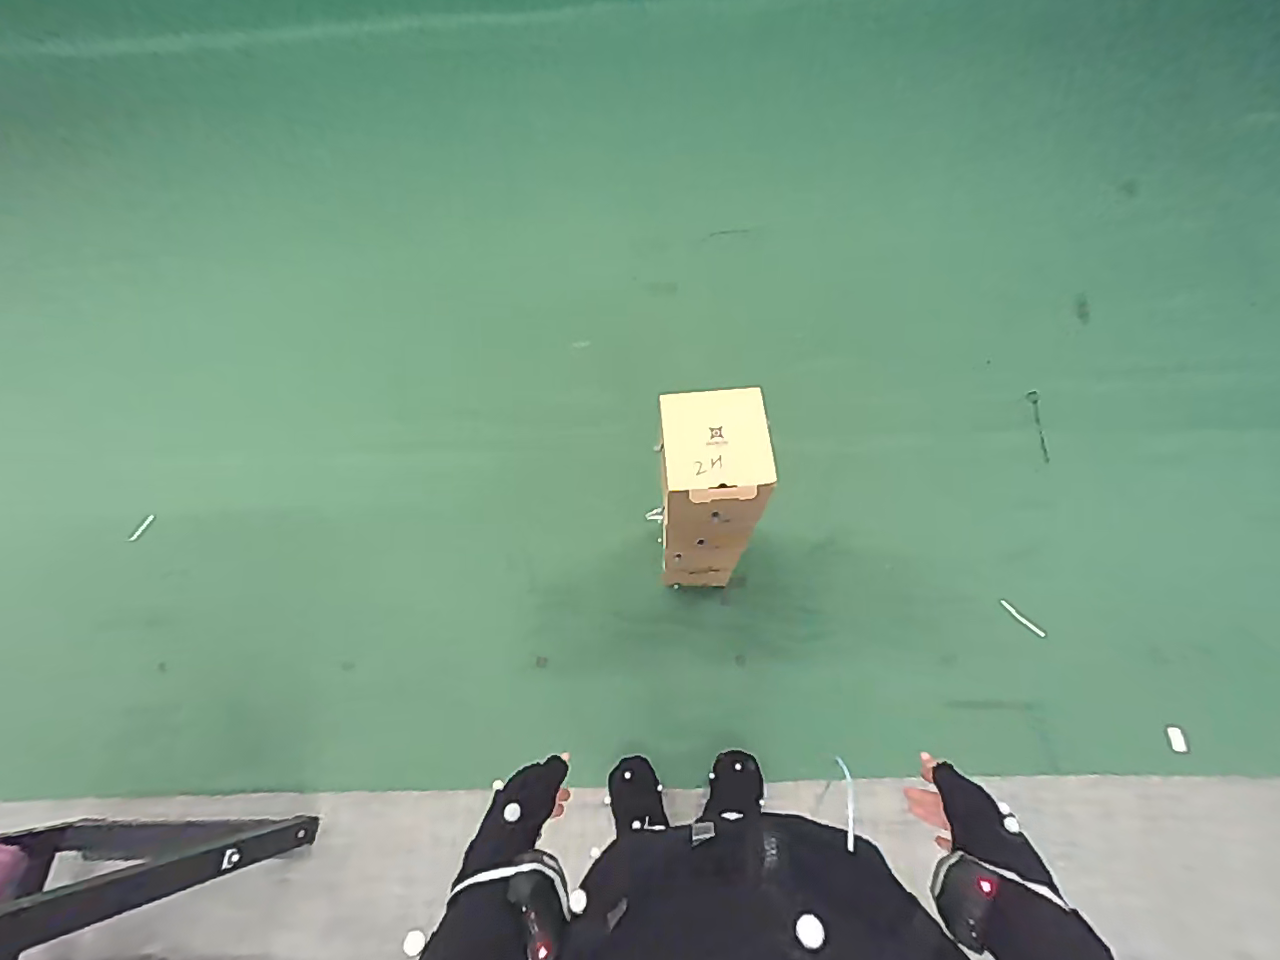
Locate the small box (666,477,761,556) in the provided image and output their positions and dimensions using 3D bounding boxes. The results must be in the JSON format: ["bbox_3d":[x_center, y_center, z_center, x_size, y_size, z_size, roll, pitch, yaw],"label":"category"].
[{"bbox_3d":[0.137,0.042,1.069,0.168,0.176,0.179,-3,66,2],"label":"small box"}]

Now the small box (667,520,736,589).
[{"bbox_3d":[0.152,0.176,1.367,0.168,0.176,0.179,-1,66,3],"label":"small box"}]

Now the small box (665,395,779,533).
[{"bbox_3d":[0.128,-0.023,0.918,0.168,0.176,0.179,-4,66,2],"label":"small box"}]
